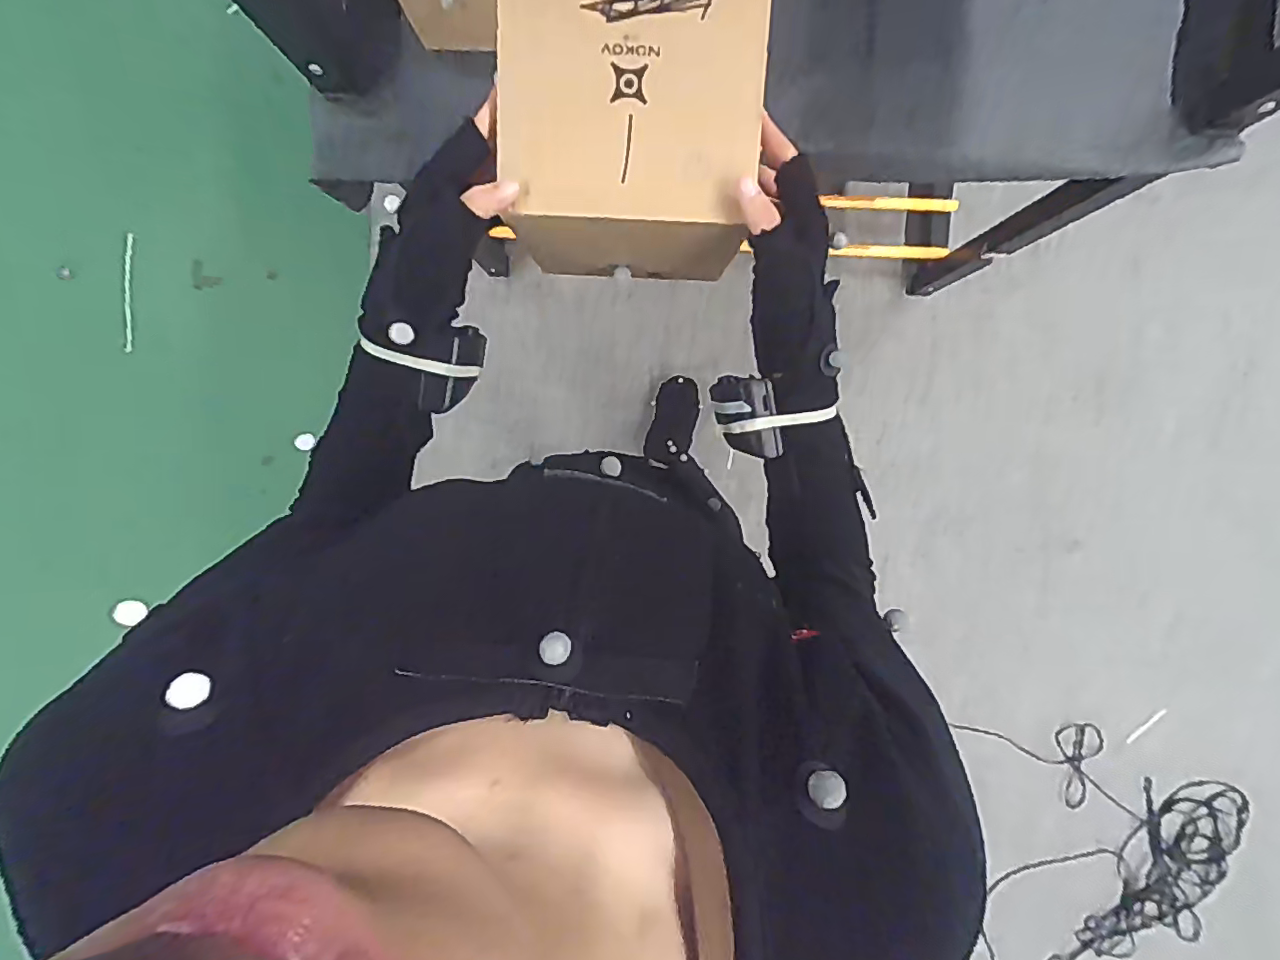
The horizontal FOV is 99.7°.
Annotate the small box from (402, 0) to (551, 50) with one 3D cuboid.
[{"bbox_3d":[-0.196,-0.636,0.617,0.168,0.176,0.179,1,93,0],"label":"small box"}]
